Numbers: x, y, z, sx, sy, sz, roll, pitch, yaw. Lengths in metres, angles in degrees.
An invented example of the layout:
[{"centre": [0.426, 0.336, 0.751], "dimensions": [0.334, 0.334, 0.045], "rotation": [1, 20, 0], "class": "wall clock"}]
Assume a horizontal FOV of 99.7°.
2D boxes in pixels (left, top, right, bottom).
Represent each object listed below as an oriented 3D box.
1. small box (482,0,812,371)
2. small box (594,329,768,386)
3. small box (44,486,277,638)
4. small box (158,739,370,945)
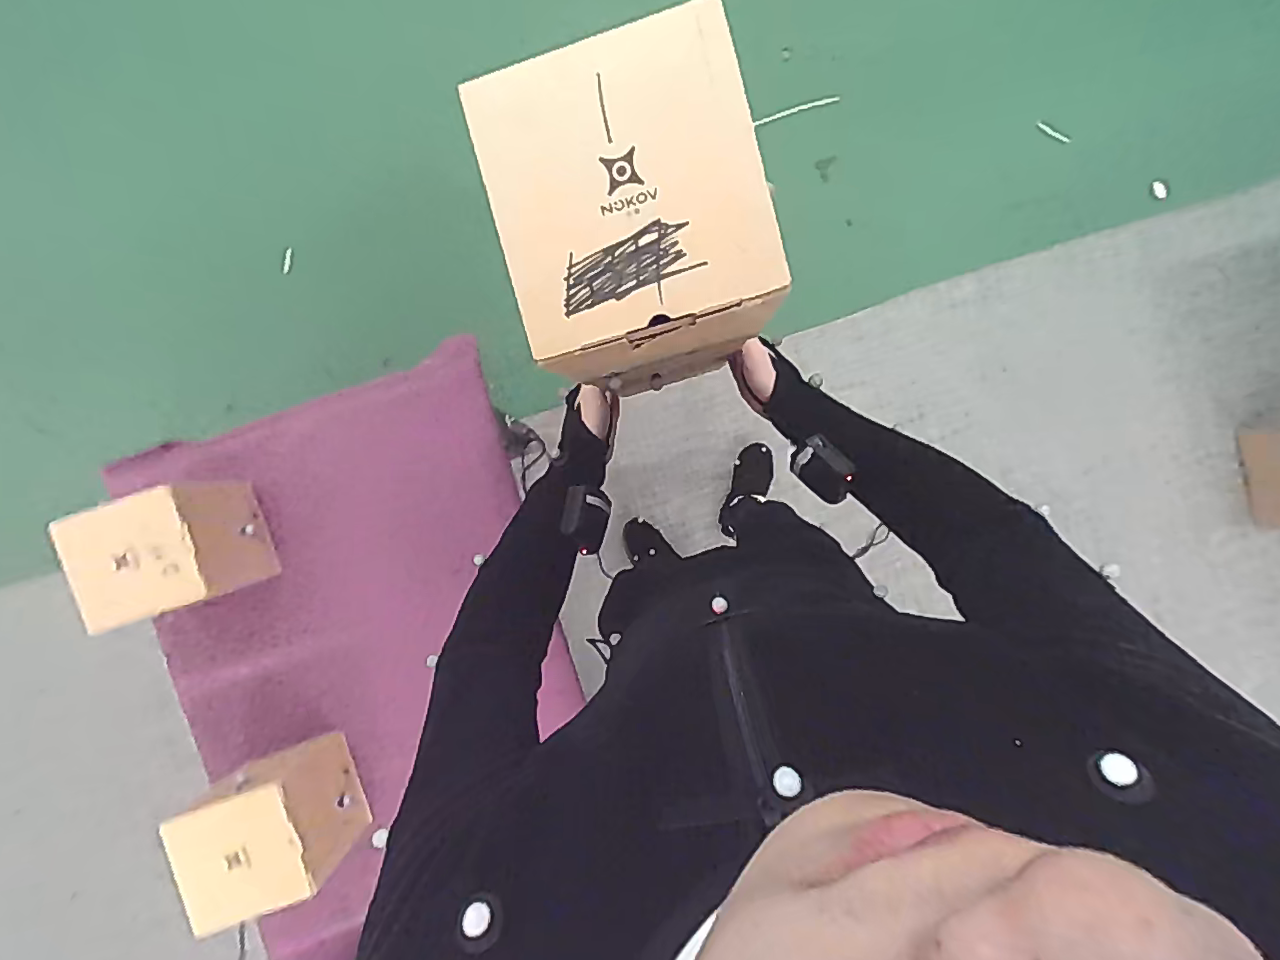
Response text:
[{"centre": [0.011, -0.184, 0.396], "dimensions": [0.168, 0.176, 0.179], "rotation": [-14, 94, 5], "class": "small box"}, {"centre": [0.021, -0.204, 0.558], "dimensions": [0.168, 0.176, 0.179], "rotation": [-13, 95, 5], "class": "small box"}, {"centre": [-0.703, 0.113, 0.814], "dimensions": [0.179, 0.176, 0.168], "rotation": [-19, 92, -1], "class": "small box"}, {"centre": [-0.549, 0.527, 0.814], "dimensions": [0.179, 0.176, 0.168], "rotation": [-20, 89, -2], "class": "small box"}]
